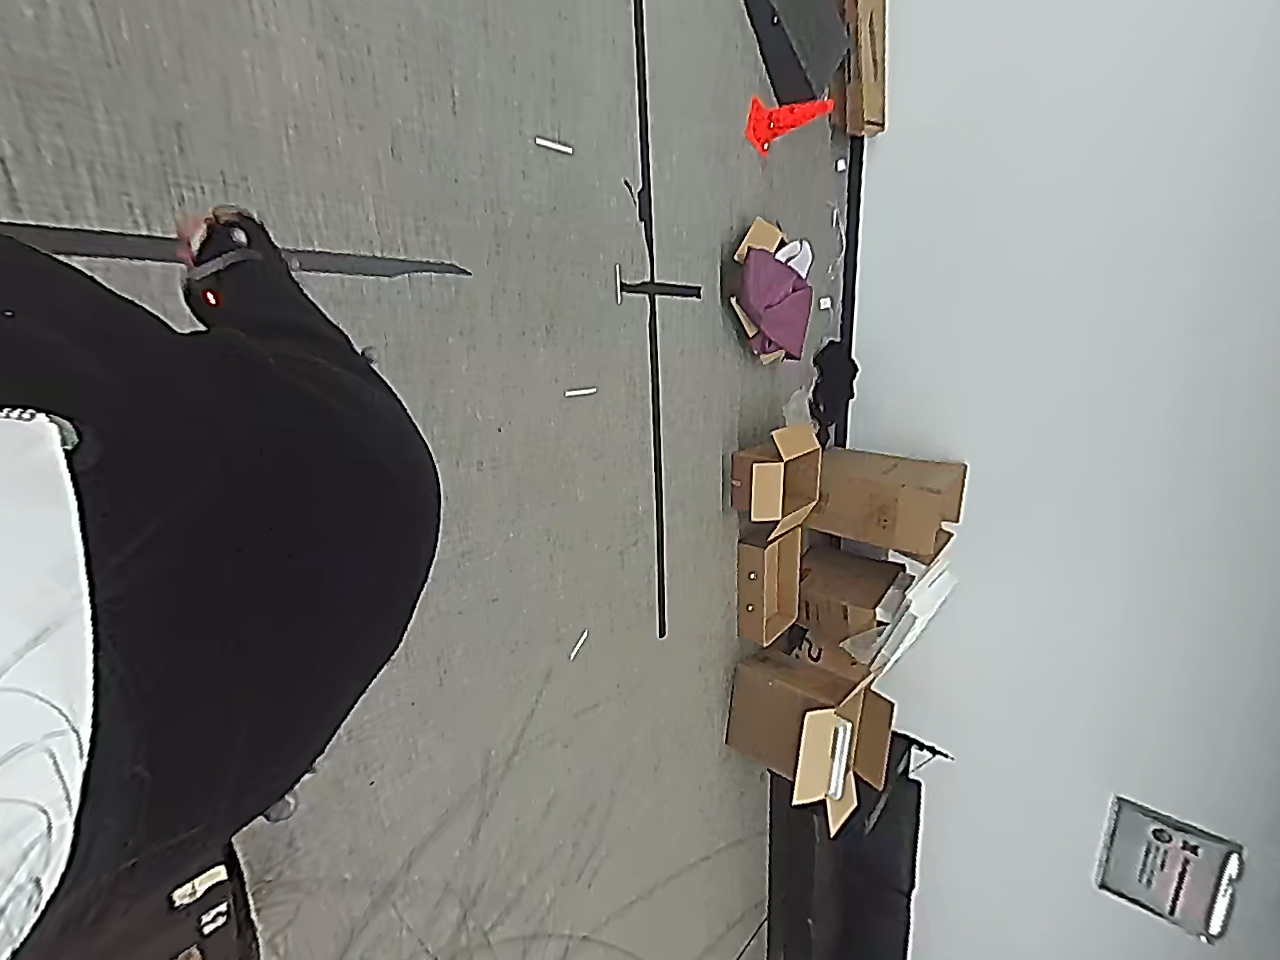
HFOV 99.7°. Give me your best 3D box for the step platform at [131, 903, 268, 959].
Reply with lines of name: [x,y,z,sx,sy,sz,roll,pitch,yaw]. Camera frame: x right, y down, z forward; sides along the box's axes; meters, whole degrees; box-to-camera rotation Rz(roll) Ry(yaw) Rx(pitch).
step platform: [-1.034,1.122,0.930,0.684,0.204,0.286,-20,114,-44]
